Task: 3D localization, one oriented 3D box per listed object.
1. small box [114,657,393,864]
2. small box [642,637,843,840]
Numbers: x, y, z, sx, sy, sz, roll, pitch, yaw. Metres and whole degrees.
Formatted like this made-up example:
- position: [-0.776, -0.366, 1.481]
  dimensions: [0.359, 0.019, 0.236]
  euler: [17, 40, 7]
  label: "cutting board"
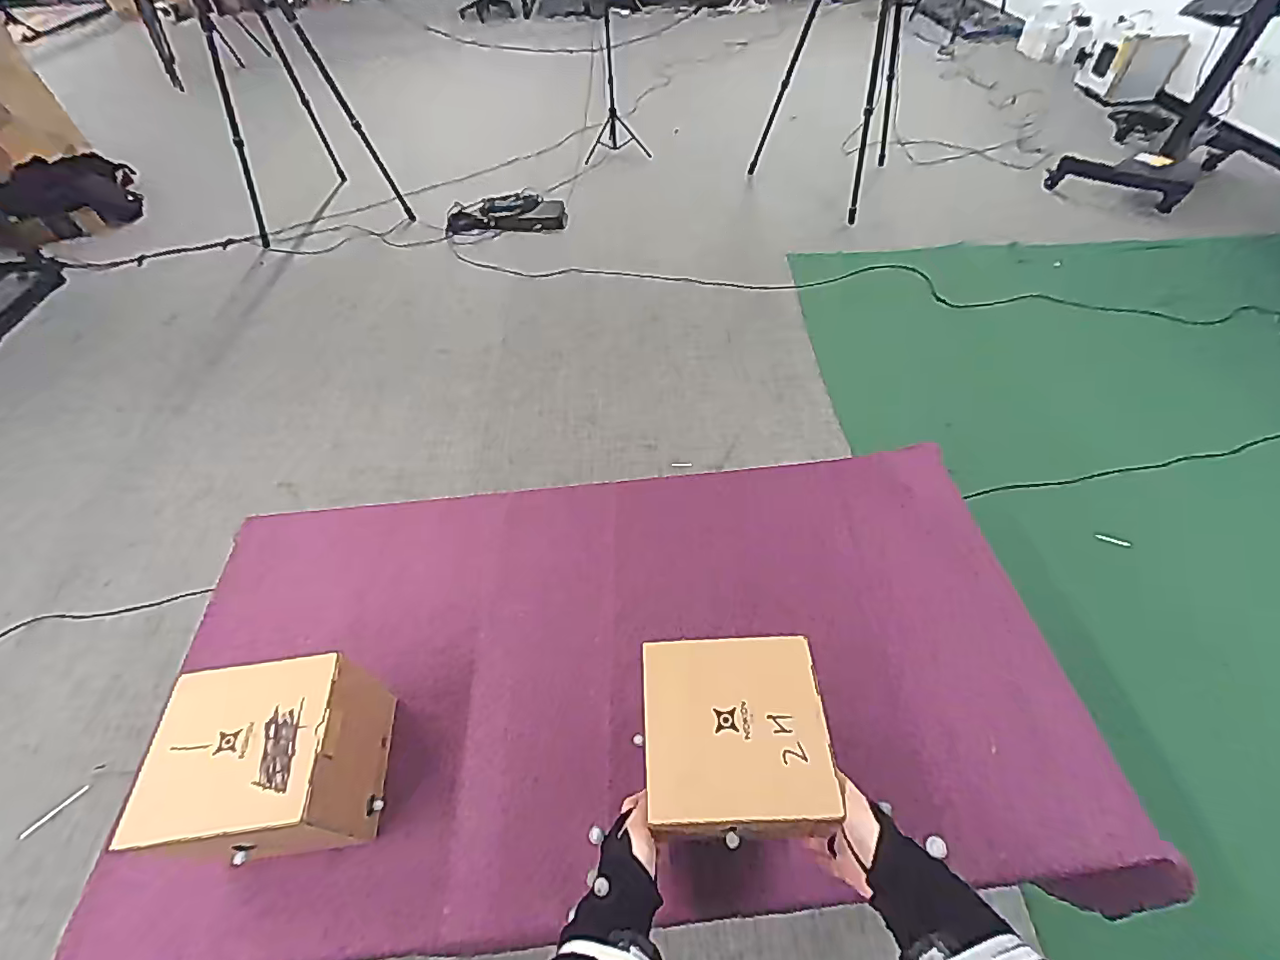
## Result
- position: [-0.404, 0.319, 0.610]
  dimensions: [0.179, 0.176, 0.168]
  euler: [-8, 51, -2]
  label: "small box"
- position: [0.095, 0.282, 0.582]
  dimensions: [0.179, 0.176, 0.168]
  euler: [-3, 52, 2]
  label: "small box"
